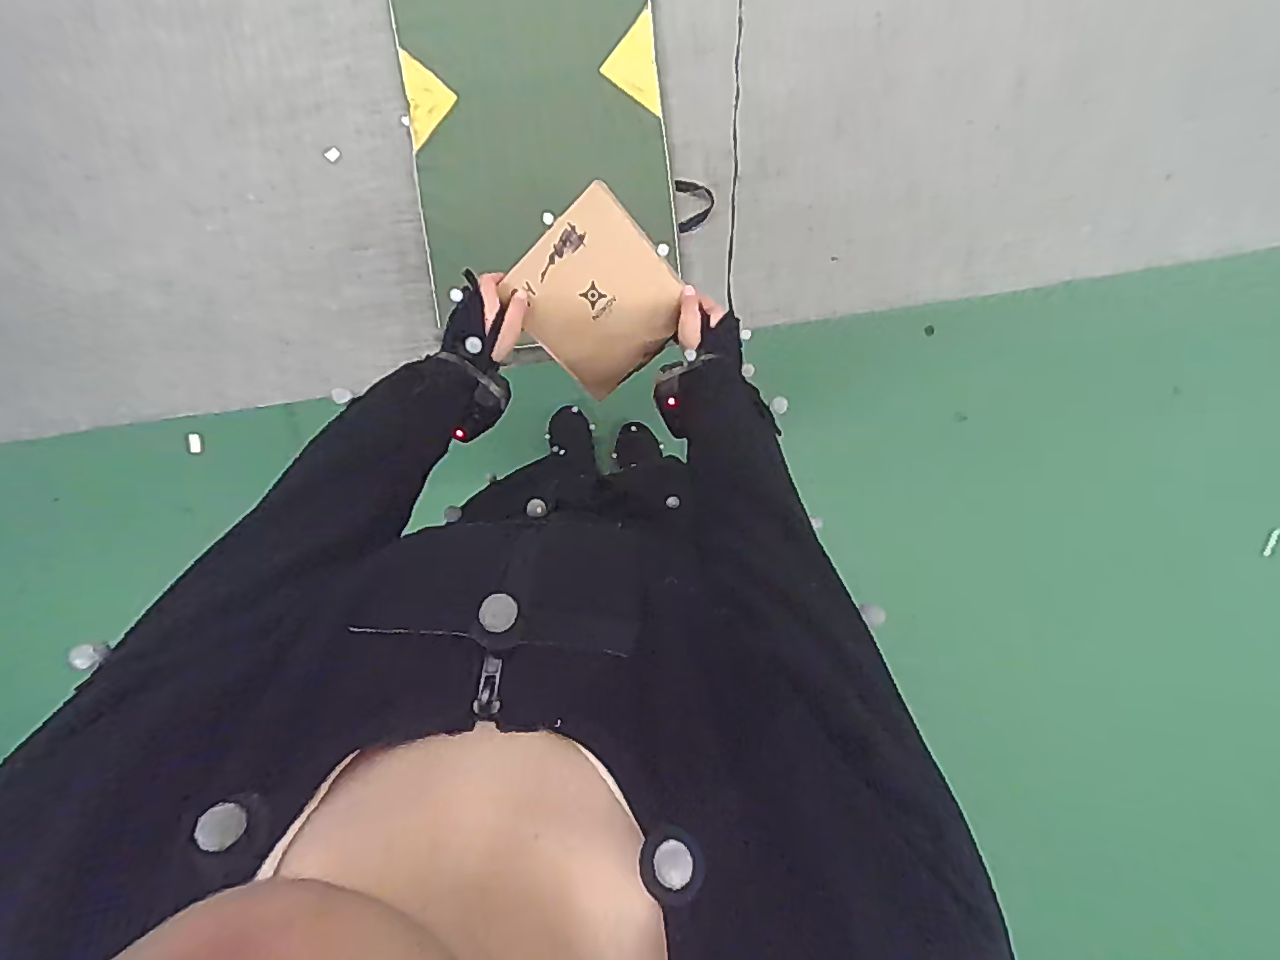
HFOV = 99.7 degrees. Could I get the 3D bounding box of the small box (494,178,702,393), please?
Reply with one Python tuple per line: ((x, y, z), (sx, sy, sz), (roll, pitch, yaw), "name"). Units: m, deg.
((-0.047, -0.245, 0.669), (0.168, 0.176, 0.179), (-39, 113, 17), "small box")
